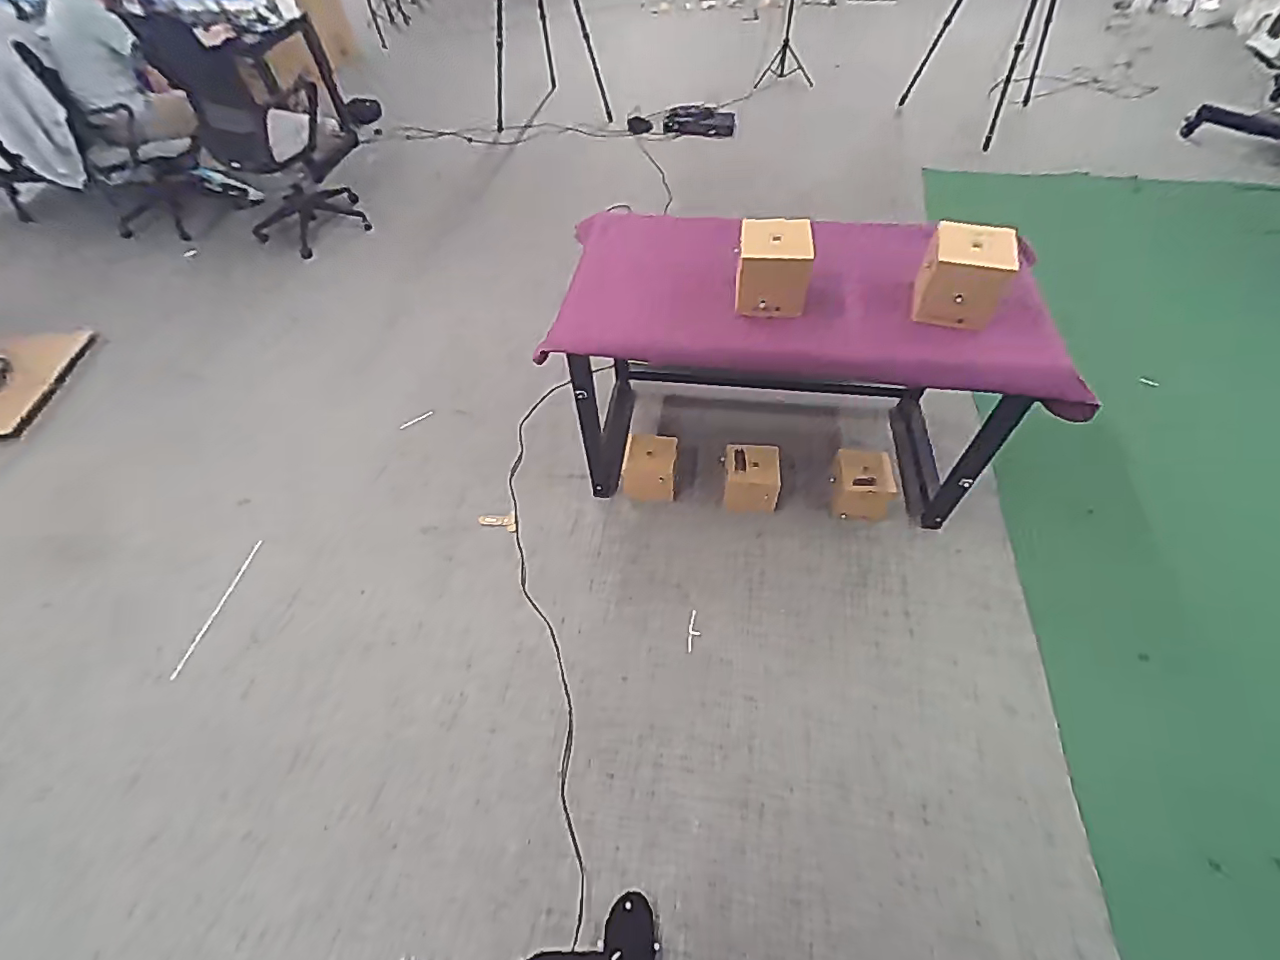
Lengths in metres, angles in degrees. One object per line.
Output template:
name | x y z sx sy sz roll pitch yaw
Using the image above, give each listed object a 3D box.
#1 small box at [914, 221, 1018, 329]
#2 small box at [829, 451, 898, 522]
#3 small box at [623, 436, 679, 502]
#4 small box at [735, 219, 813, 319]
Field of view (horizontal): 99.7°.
small box | 0.769 -0.485 1.287 0.168 0.176 0.179 14 56 14
small box | 0.744 0.024 1.816 0.168 0.176 0.179 3 53 6
small box | 0.044 -0.036 1.909 0.179 0.176 0.168 5 54 7
small box | 0.329 -0.526 1.349 0.168 0.176 0.179 4 54 7
